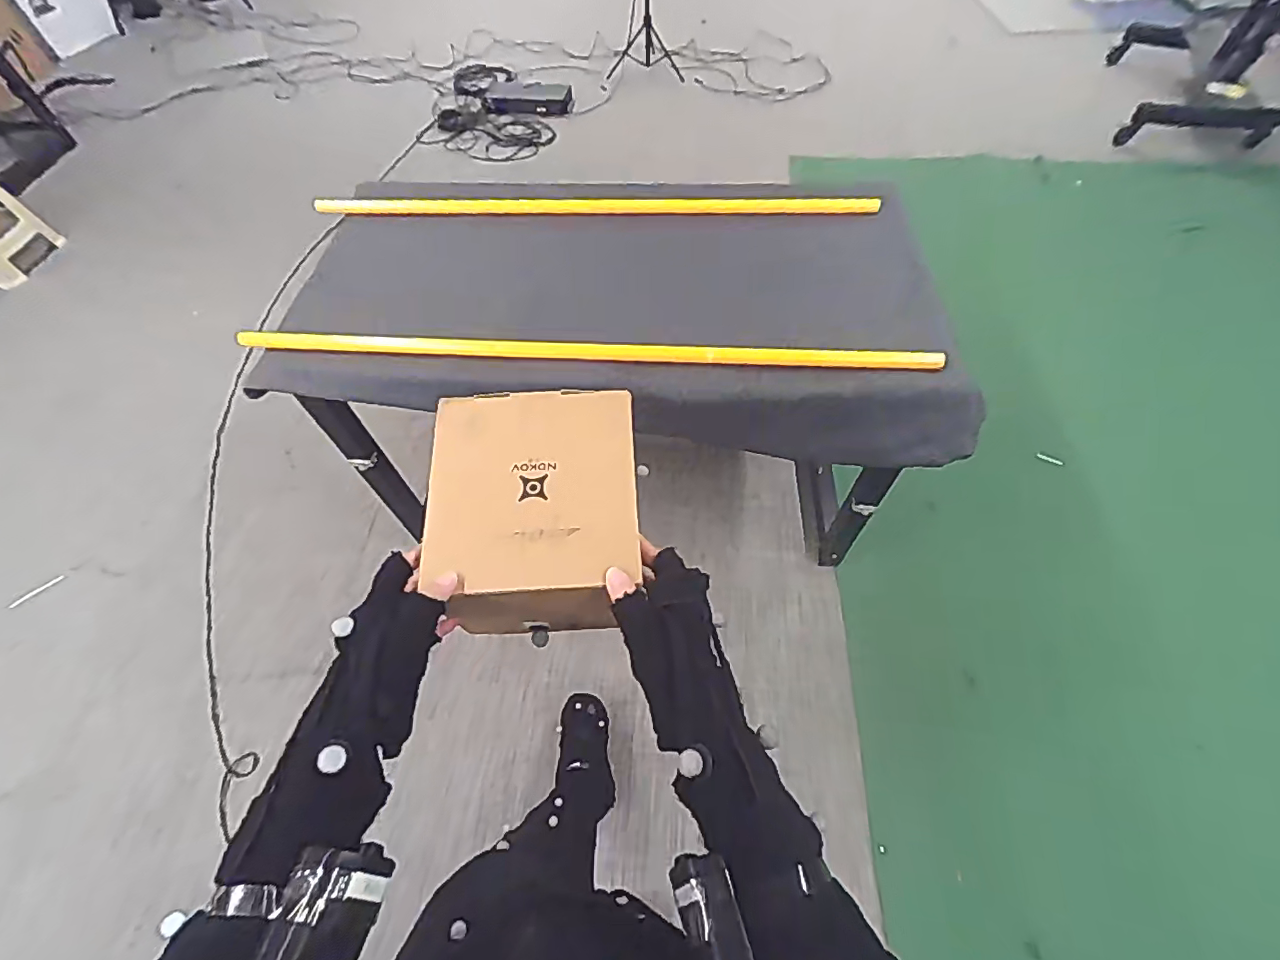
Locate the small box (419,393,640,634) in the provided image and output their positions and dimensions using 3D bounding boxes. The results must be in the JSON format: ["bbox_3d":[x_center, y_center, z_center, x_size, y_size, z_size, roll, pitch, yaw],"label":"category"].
[{"bbox_3d":[-0.089,0.038,0.510,0.168,0.176,0.179,-3,64,-3],"label":"small box"}]
